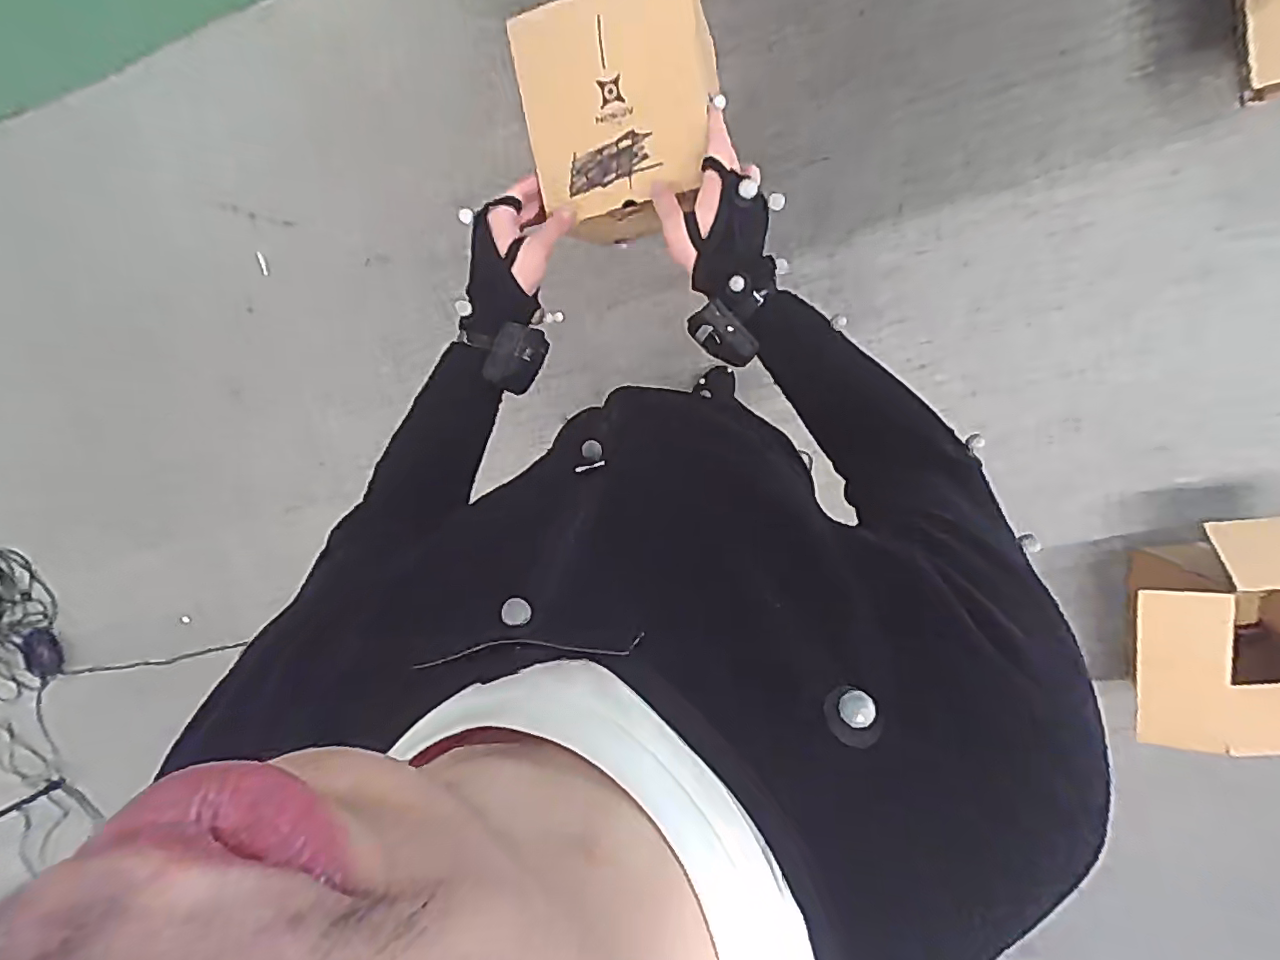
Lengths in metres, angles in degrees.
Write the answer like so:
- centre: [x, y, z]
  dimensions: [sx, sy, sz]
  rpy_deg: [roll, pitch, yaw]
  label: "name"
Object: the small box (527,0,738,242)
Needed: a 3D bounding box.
- centre: [0.007, -0.360, 0.566]
  dimensions: [0.168, 0.176, 0.179]
  rpy_deg: [-6, 104, 16]
  label: "small box"
